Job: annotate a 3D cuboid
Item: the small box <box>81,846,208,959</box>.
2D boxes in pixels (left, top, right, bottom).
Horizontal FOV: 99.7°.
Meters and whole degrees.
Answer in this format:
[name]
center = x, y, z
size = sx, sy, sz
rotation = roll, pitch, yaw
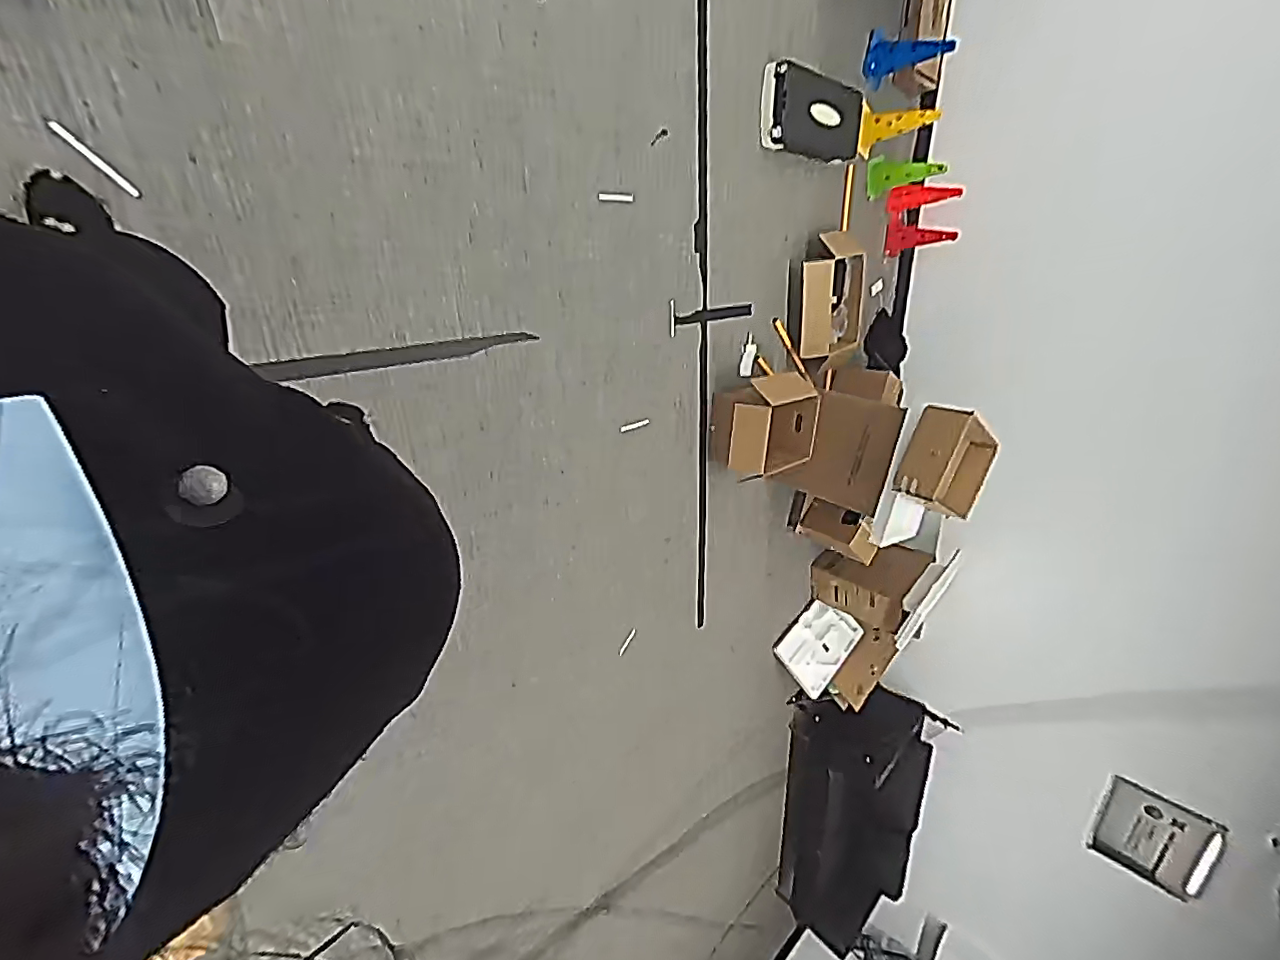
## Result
[small box]
center = -1.048, 0.938, 1.148
size = 0.168, 0.176, 0.179
rotation = -17, 116, -43
